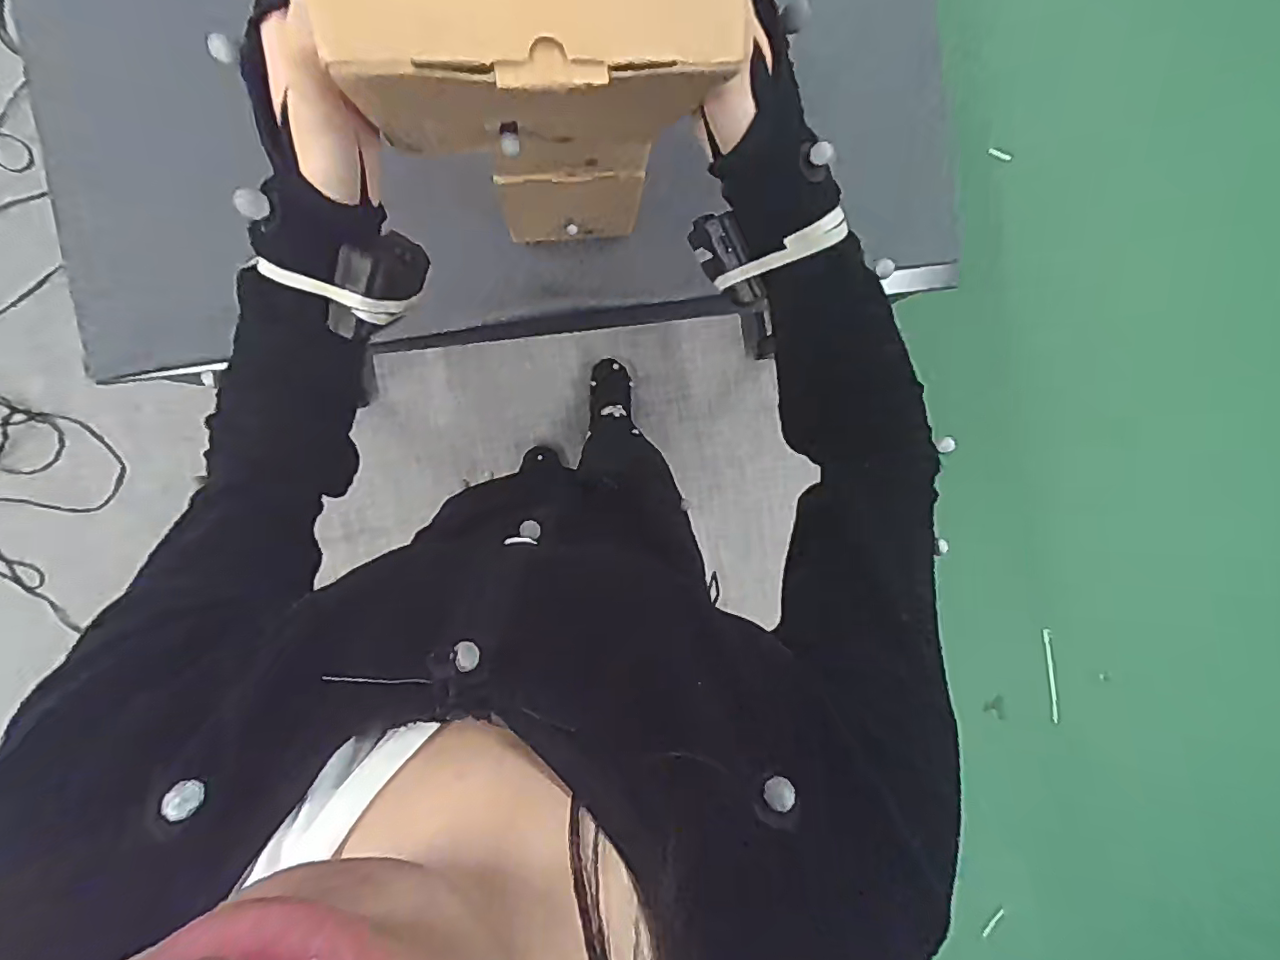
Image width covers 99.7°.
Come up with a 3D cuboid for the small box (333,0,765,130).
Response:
[{"bbox_3d":[-0.054,-0.278,0.243,0.168,0.176,0.179,-10,115,-12],"label":"small box"}]

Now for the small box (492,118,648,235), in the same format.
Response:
[{"bbox_3d":[-0.090,-0.421,0.654,0.168,0.176,0.179,-7,94,-6],"label":"small box"}]
